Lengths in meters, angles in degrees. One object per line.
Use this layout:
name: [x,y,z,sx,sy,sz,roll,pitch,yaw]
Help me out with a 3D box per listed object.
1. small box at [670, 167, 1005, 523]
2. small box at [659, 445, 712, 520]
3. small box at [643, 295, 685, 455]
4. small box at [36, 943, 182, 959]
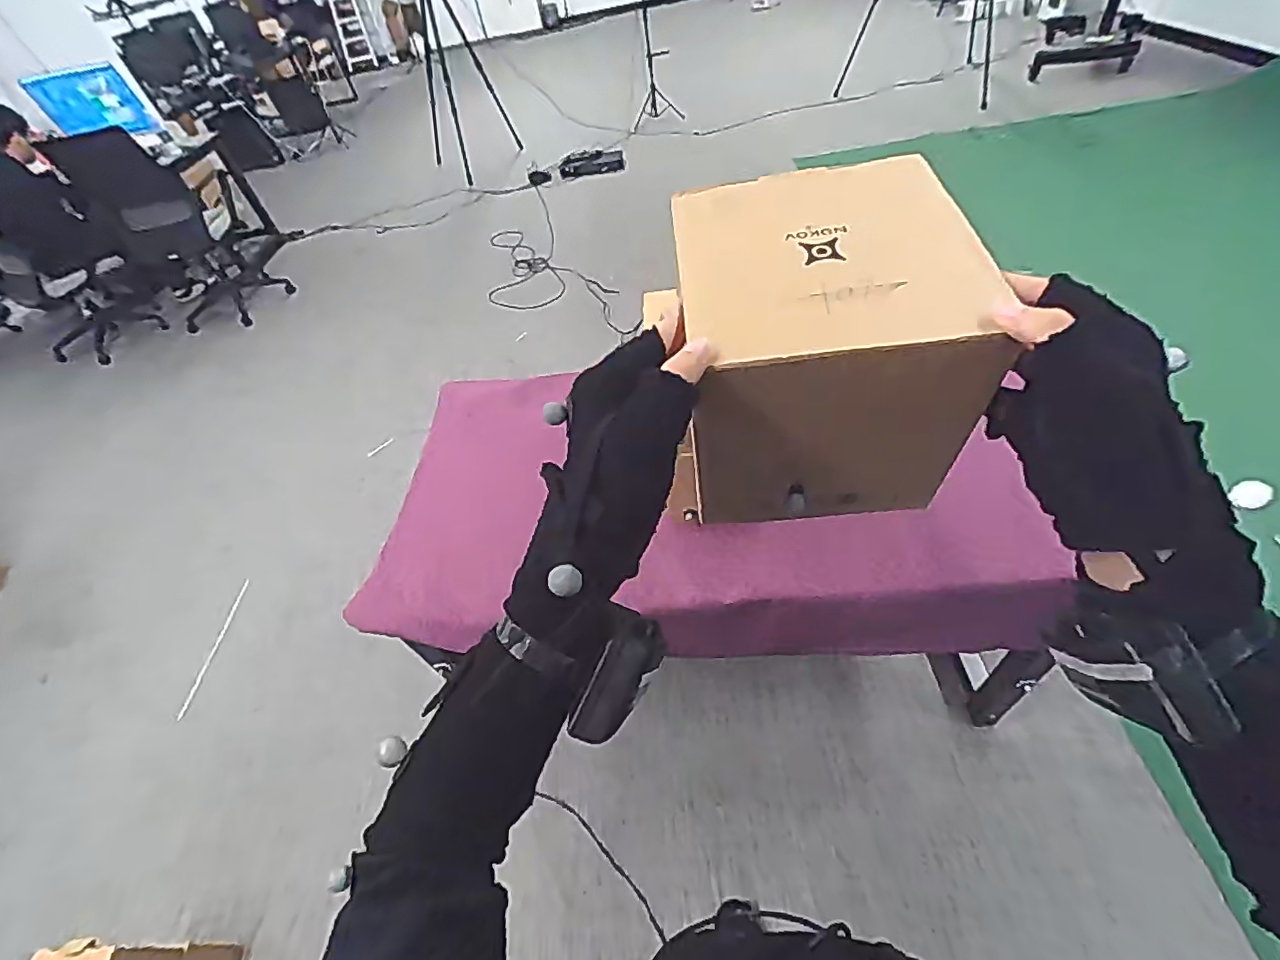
small box: [0.111,-0.088,0.389,0.168,0.176,0.179,-5,55,6]
small box: [0.125,-0.044,0.911,0.168,0.176,0.179,-5,47,7]
small box: [0.099,-0.159,0.795,0.168,0.176,0.179,-5,48,8]
small box: [-1.014,0.975,0.999,0.168,0.176,0.179,-7,47,5]
